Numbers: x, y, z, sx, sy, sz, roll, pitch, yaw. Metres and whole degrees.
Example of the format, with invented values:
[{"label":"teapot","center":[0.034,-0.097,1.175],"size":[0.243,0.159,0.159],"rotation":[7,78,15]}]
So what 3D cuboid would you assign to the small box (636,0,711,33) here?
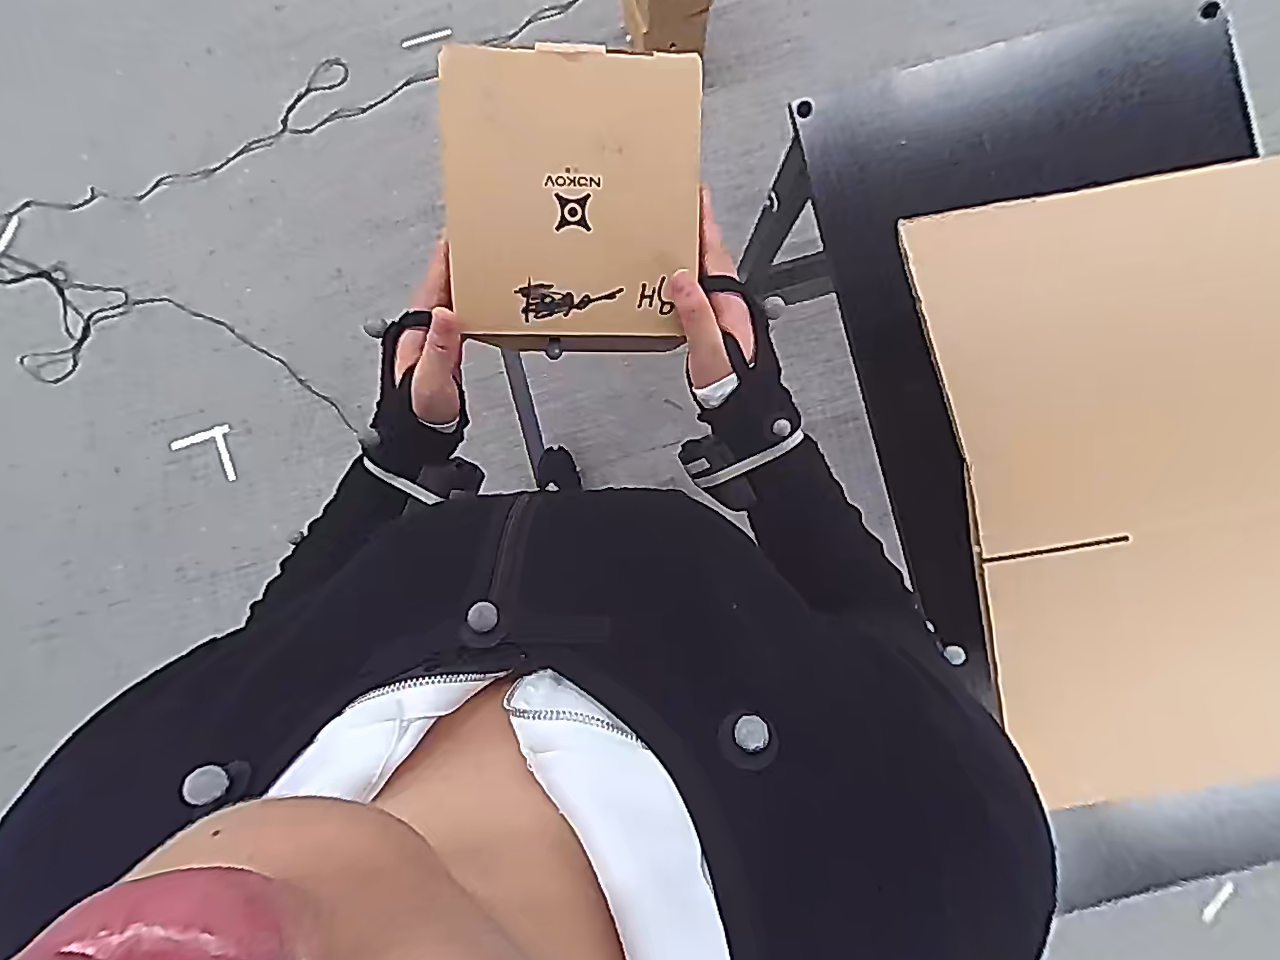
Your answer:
[{"label":"small box","center":[0.067,-1.187,1.239],"size":[0.179,0.176,0.168],"rotation":[-22,91,0]}]

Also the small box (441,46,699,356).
[{"label":"small box","center":[-0.048,-0.196,0.431],"size":[0.168,0.176,0.179],"rotation":[-1,99,-3]}]

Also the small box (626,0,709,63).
[{"label":"small box","center":[0.064,-1.186,1.402],"size":[0.179,0.176,0.168],"rotation":[-19,90,2]}]
